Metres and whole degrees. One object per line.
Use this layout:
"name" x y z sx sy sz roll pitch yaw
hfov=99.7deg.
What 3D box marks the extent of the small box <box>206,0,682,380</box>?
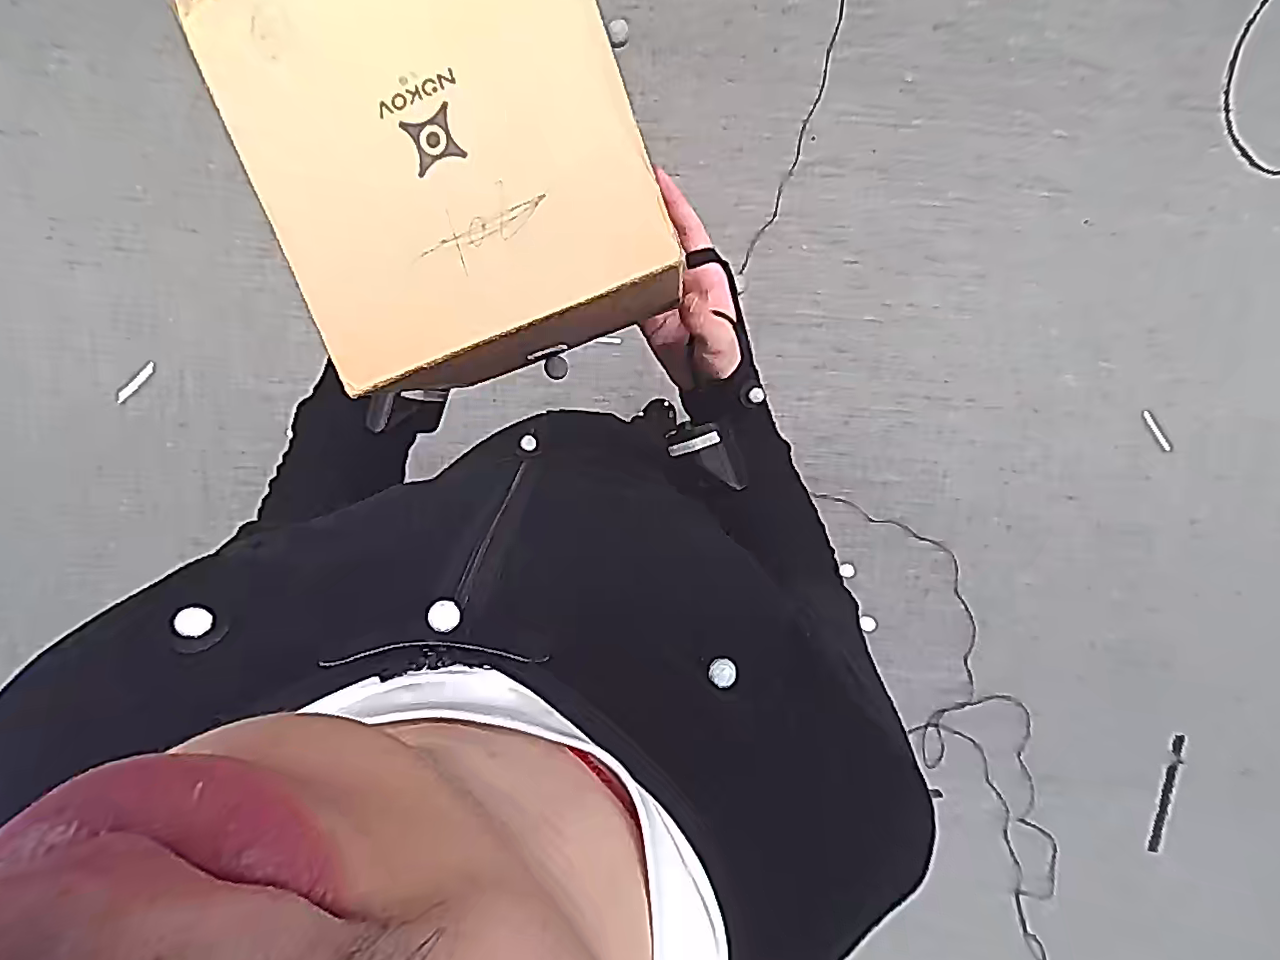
"small box" -0.081 -0.166 0.318 0.168 0.176 0.179 -19 99 8
